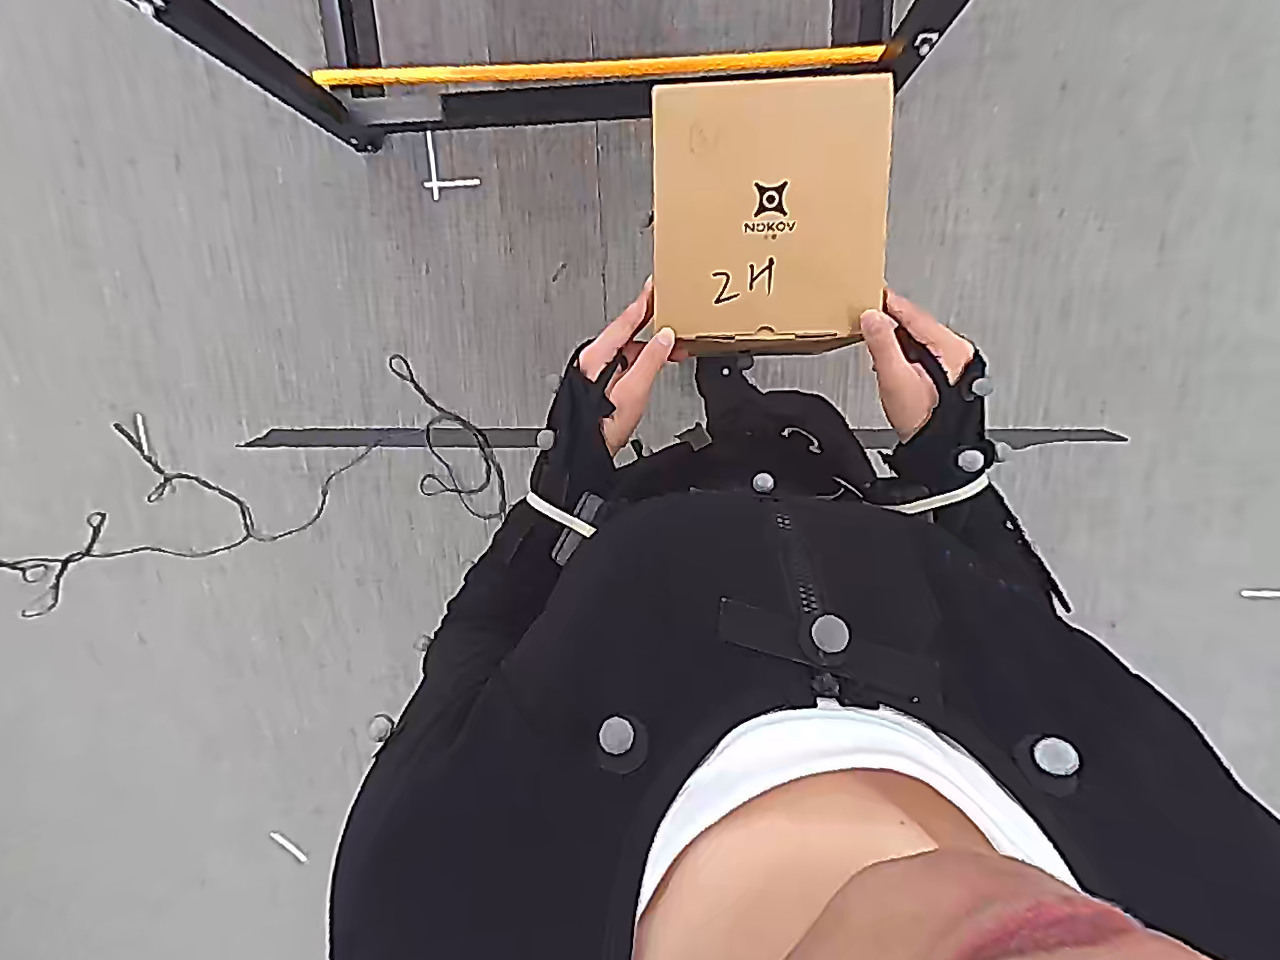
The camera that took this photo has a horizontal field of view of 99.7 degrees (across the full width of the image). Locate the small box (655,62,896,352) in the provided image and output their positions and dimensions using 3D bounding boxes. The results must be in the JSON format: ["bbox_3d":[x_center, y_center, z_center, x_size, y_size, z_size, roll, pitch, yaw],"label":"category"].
[{"bbox_3d":[0.098,-0.209,0.460,0.168,0.176,0.179,1,97,4],"label":"small box"}]
